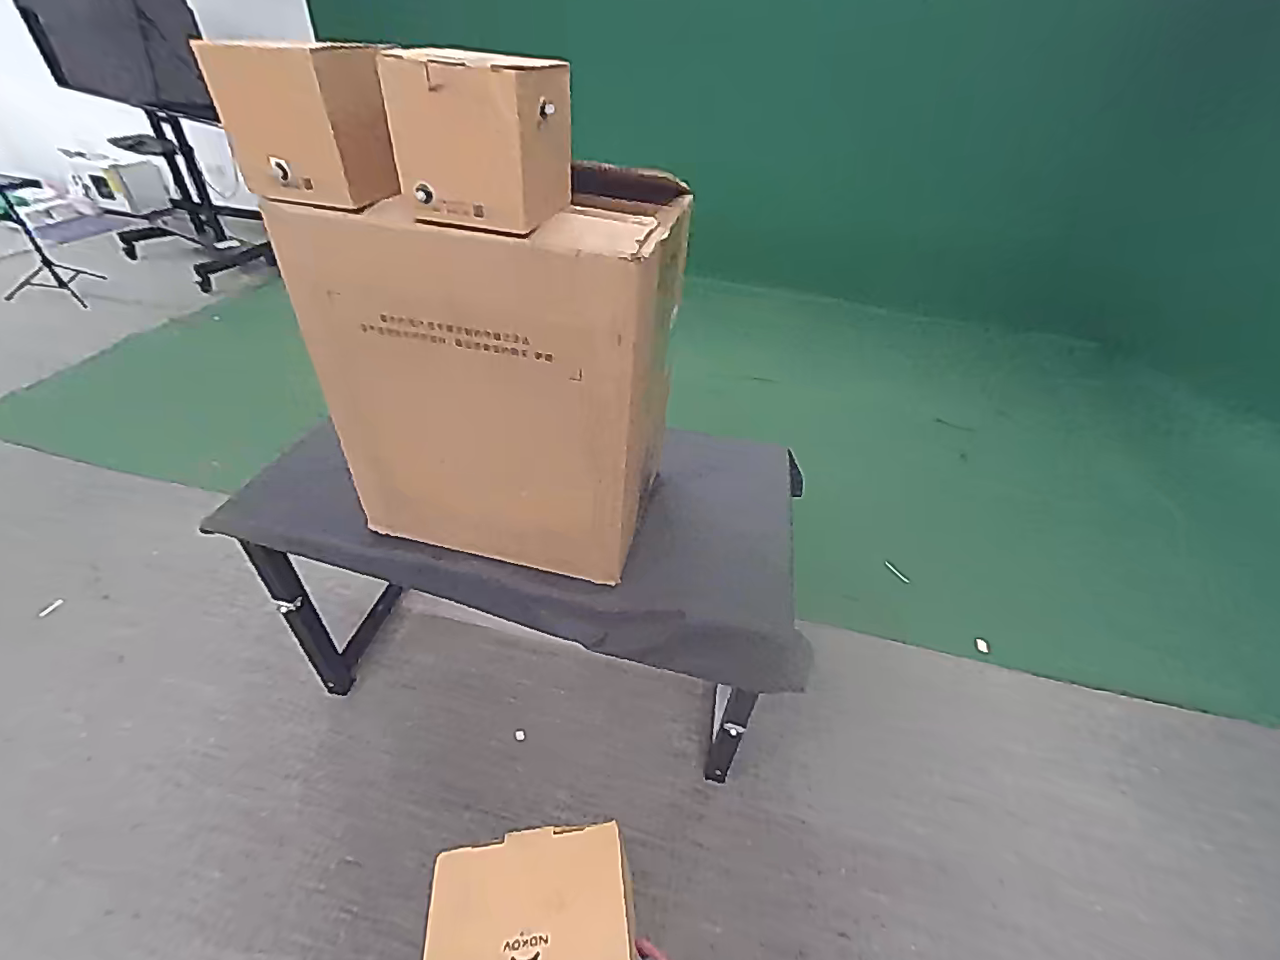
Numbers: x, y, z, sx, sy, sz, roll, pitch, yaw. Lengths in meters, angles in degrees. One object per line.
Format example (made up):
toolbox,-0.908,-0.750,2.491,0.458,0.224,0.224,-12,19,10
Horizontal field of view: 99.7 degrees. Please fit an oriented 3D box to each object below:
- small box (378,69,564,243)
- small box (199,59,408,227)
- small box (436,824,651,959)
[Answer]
small box,-0.199,-0.421,0.702,0.168,0.176,0.179,11,39,7
small box,-0.425,-0.461,0.736,0.168,0.176,0.179,10,40,10
small box,-0.075,0.443,0.473,0.168,0.176,0.179,-9,38,-4
